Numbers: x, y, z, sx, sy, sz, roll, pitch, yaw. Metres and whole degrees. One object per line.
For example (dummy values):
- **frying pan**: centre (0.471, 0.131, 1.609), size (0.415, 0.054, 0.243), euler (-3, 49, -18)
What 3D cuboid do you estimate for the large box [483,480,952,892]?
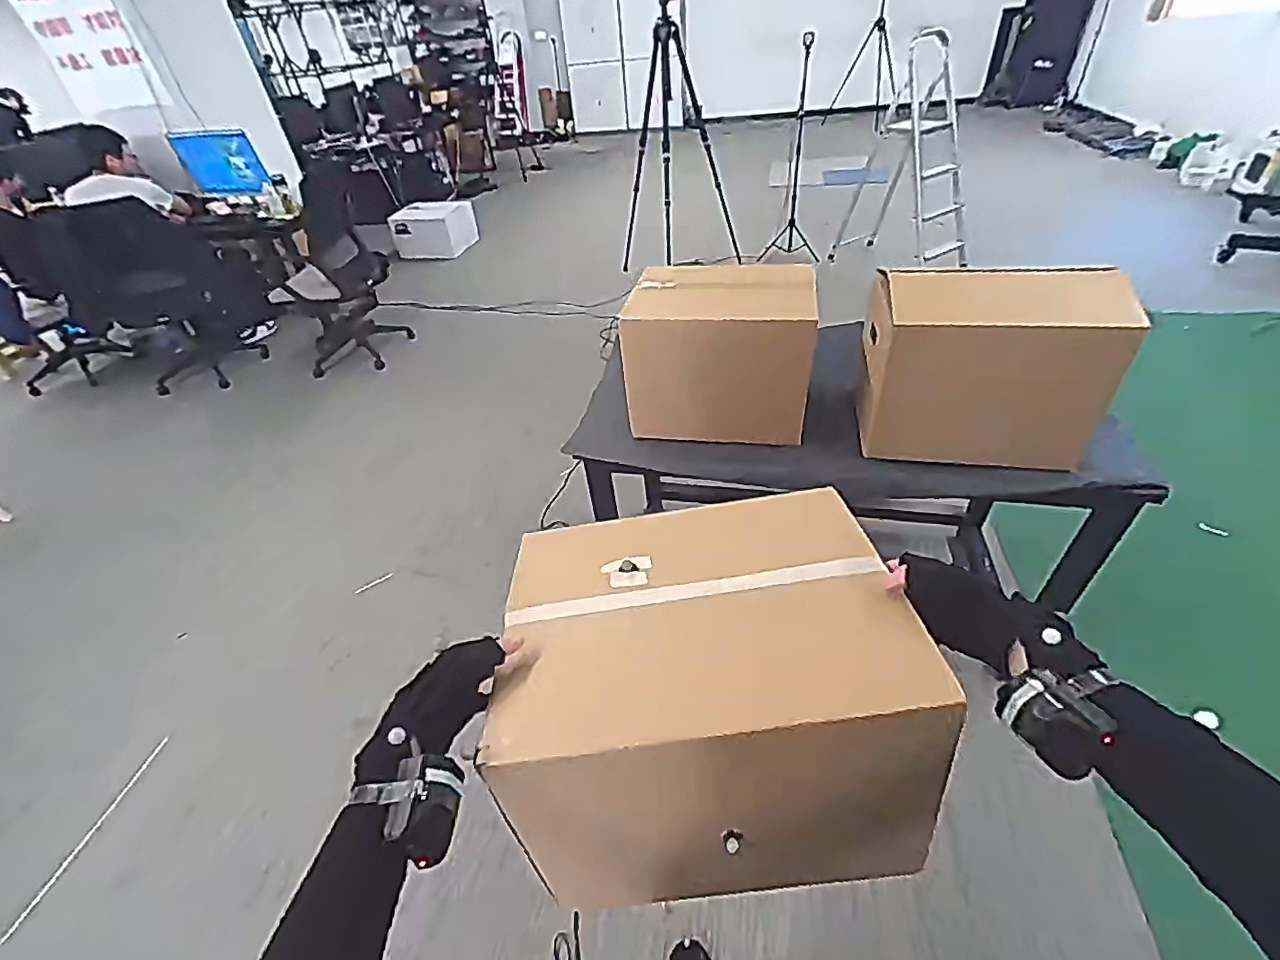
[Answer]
- **large box**: centre (0.079, 0.238, 0.652), size (0.408, 0.320, 0.320), euler (-10, 32, 3)
